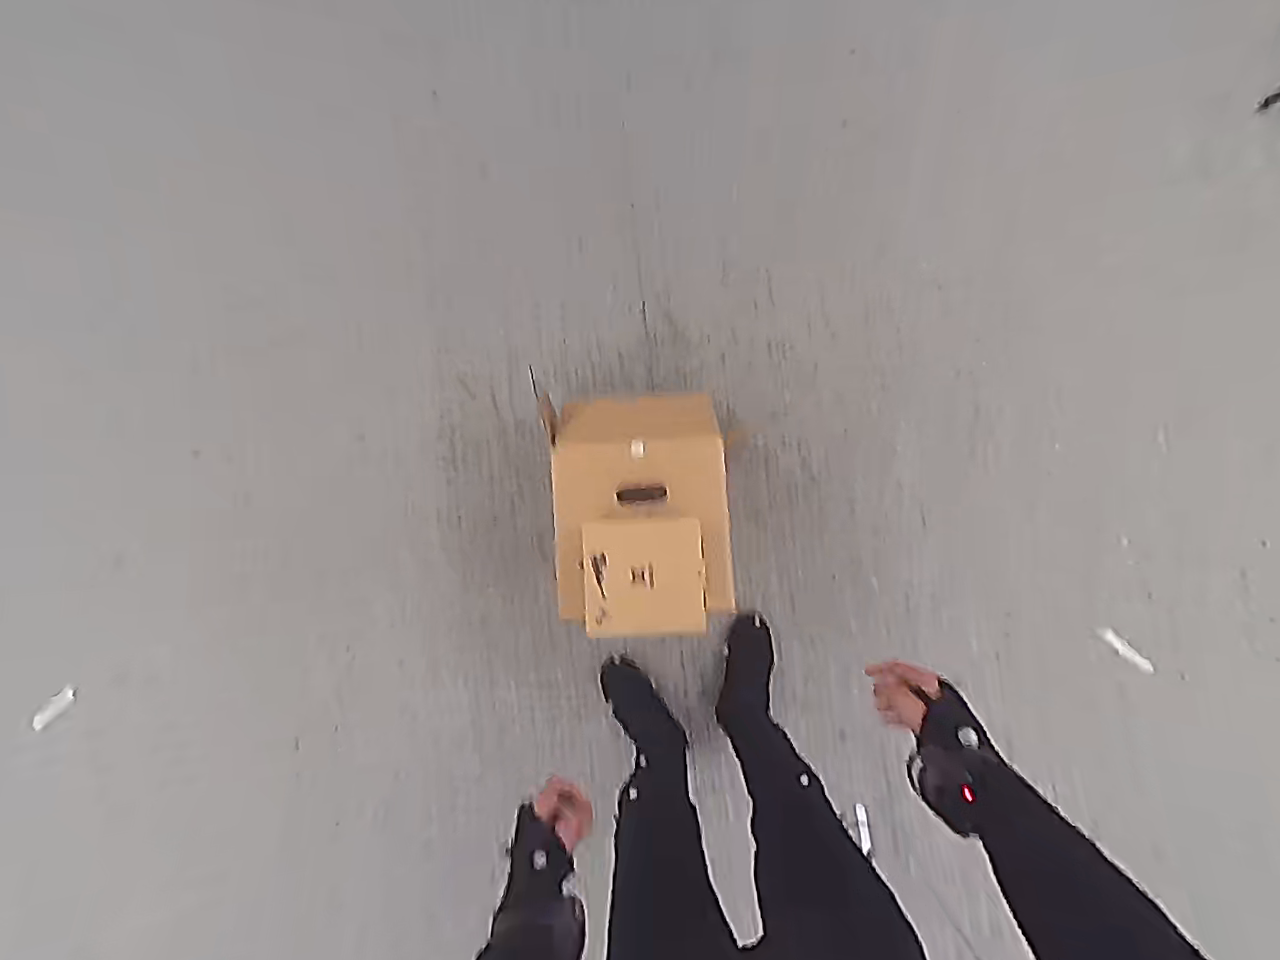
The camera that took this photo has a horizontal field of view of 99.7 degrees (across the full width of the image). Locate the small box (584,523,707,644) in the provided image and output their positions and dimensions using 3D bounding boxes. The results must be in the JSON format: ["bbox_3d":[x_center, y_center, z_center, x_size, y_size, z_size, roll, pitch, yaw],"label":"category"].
[{"bbox_3d":[0.006,0.155,0.862,0.179,0.176,0.168,-2,87,-1],"label":"small box"}]
